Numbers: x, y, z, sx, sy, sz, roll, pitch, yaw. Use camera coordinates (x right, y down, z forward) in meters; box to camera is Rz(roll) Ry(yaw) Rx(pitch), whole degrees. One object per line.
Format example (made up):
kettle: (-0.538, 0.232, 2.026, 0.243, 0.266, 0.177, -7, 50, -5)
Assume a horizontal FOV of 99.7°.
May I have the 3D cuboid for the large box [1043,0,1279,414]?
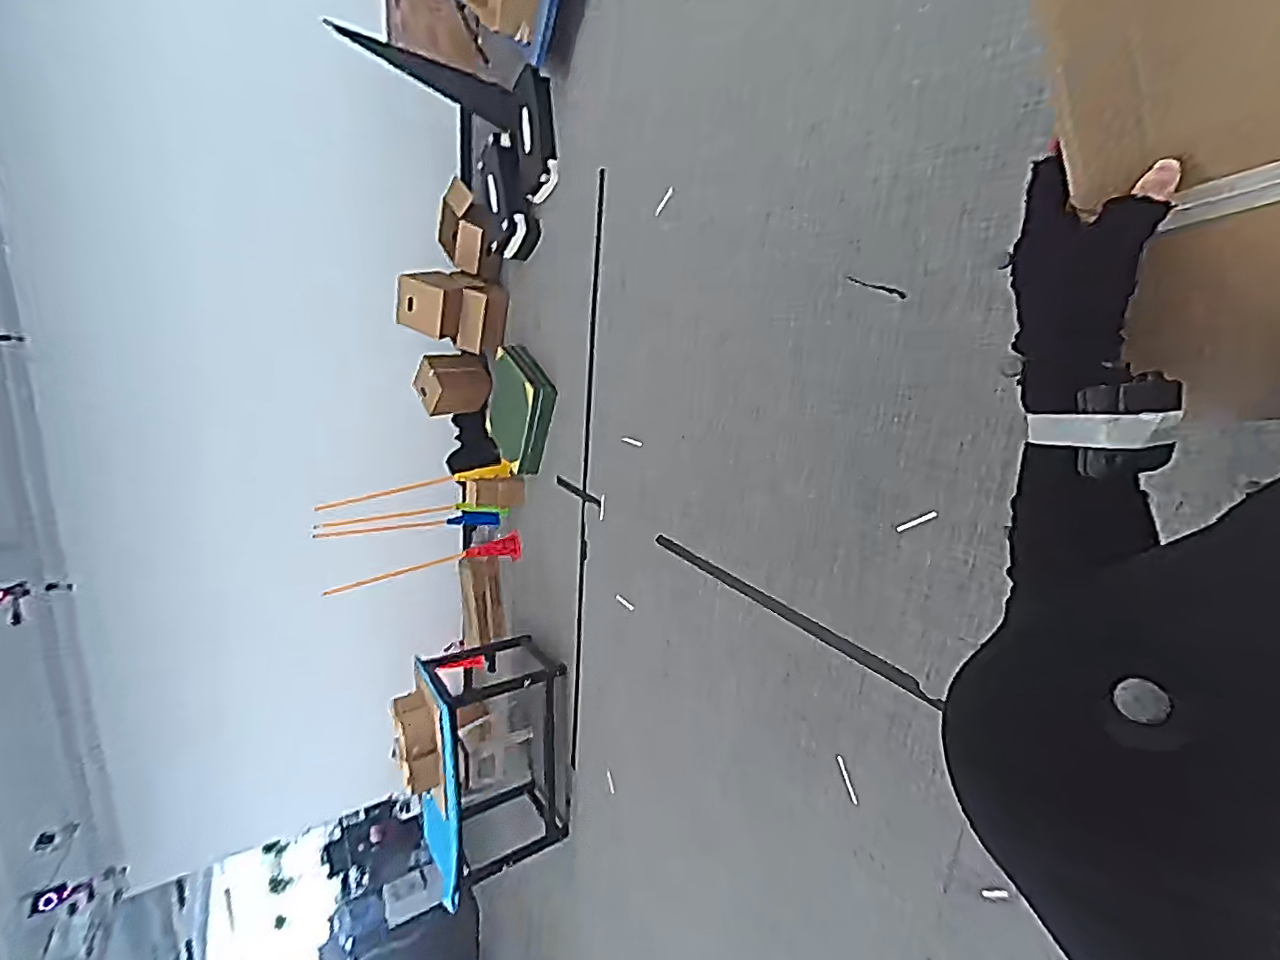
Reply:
large box: (0.501, -0.254, 0.251, 0.408, 0.320, 0.320, 5, 135, 56)
